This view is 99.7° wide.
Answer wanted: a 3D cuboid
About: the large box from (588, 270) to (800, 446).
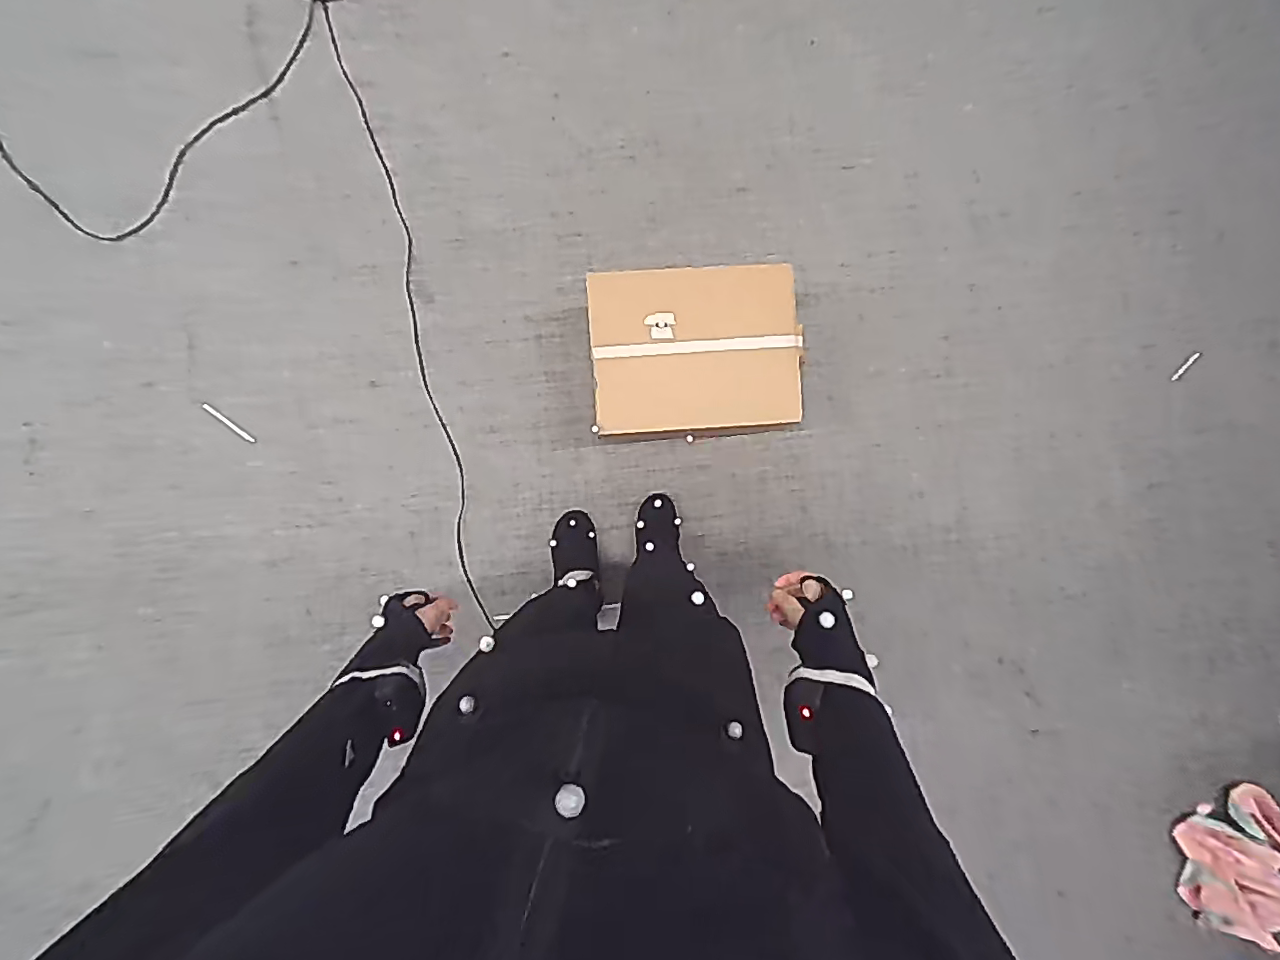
[{"bbox_3d":[0.106,-0.248,1.206,0.408,0.320,0.320,-4,91,-2],"label":"large box"}]
